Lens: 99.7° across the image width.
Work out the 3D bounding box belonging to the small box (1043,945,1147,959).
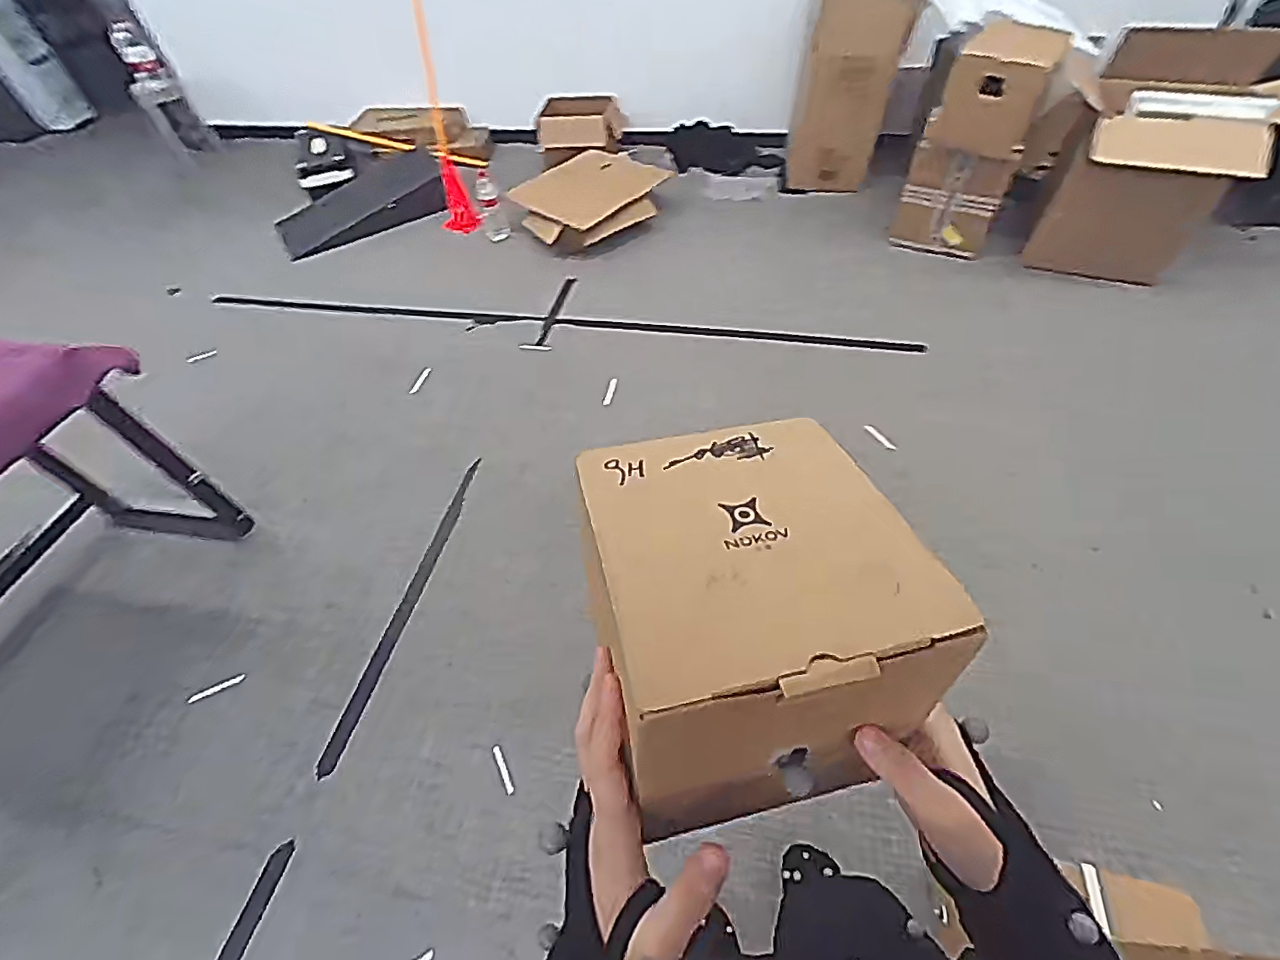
[{"bbox_3d":[0.695,0.768,0.738,0.168,0.176,0.179,6,54,10],"label":"small box"}]

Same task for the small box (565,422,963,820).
[{"bbox_3d":[0.052,0.090,0.347,0.168,0.176,0.179,-10,43,-10],"label":"small box"}]
